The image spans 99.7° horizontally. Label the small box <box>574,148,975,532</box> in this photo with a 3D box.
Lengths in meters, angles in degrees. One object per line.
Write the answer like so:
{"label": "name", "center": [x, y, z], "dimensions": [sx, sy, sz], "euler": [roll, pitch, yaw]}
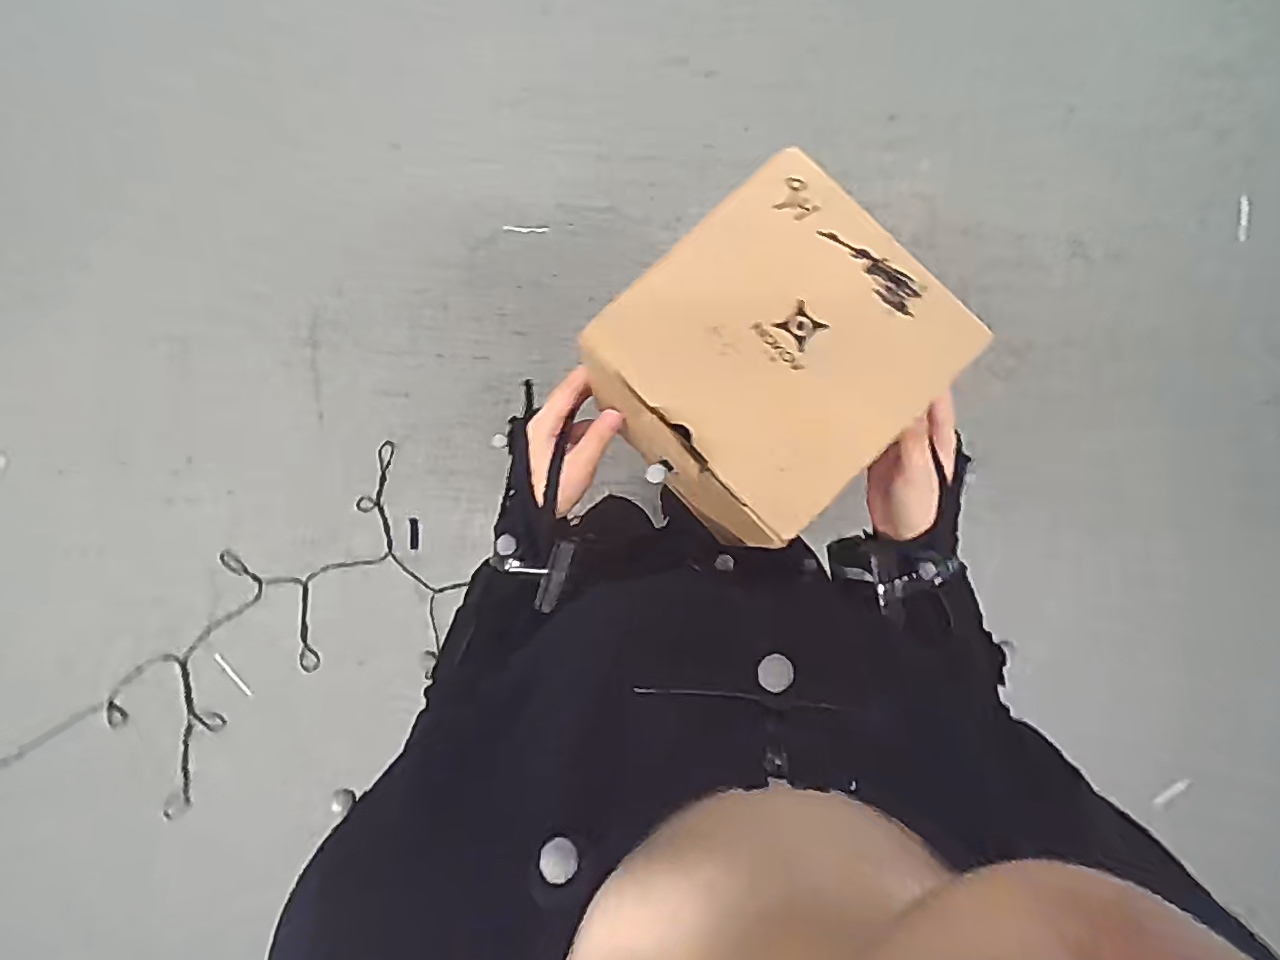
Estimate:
{"label": "small box", "center": [0.079, -0.075, 0.391], "dimensions": [0.179, 0.176, 0.168], "euler": [-43, 85, -5]}
